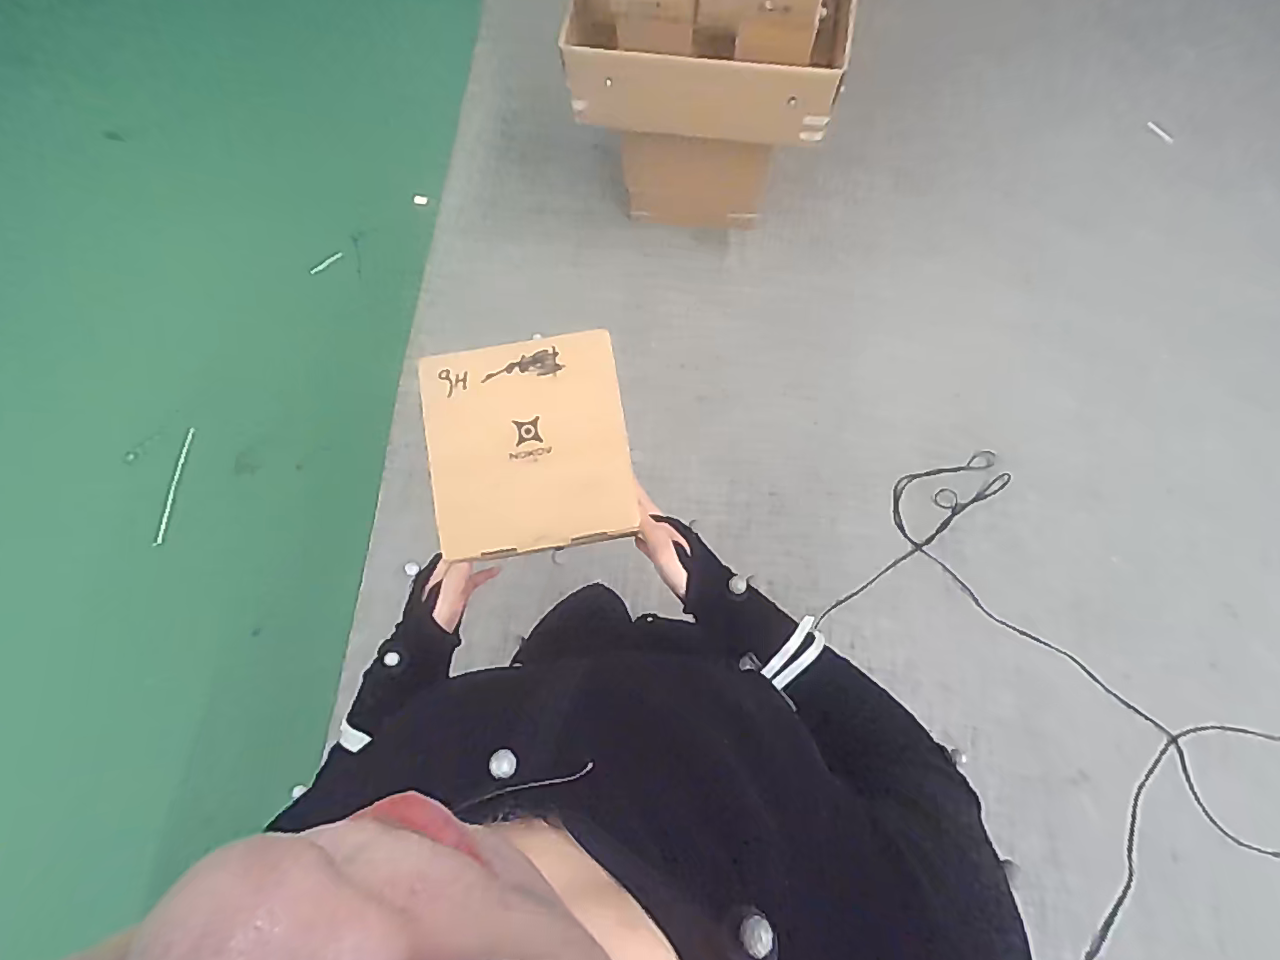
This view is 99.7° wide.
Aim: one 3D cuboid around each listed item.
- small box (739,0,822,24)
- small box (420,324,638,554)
[{"bbox_3d":[0.290,-1.037,1.039,0.168,0.176,0.179,12,80,8],"label":"small box"},{"bbox_3d":[-0.094,-0.028,0.529,0.168,0.176,0.179,-9,84,-2],"label":"small box"}]
